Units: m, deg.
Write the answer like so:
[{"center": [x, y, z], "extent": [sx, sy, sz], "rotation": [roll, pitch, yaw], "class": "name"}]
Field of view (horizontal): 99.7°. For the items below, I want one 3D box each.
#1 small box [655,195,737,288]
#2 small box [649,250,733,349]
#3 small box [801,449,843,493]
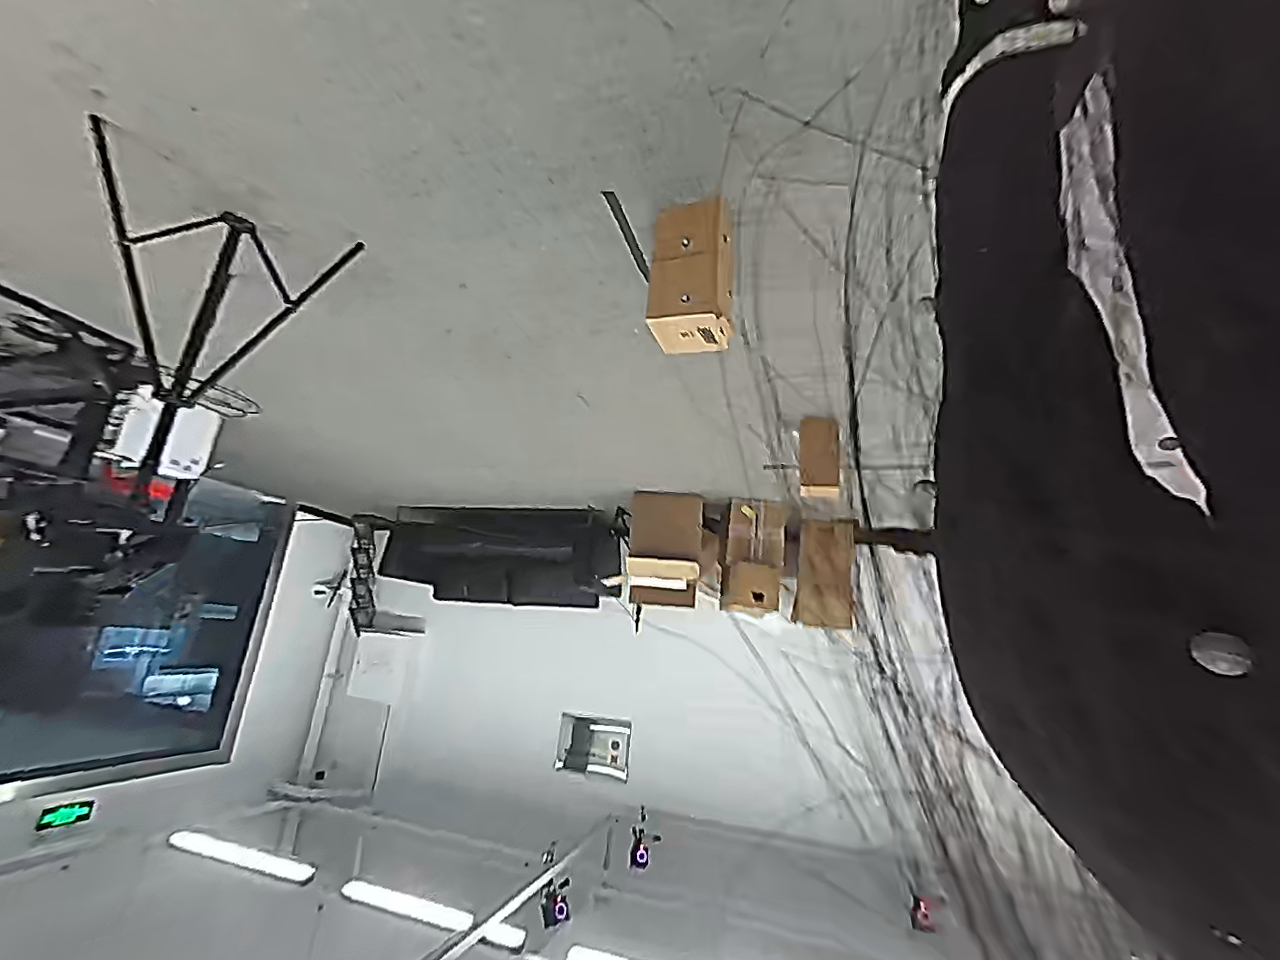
[{"center": [0.151, -0.606, 1.403], "extent": [0.179, 0.176, 0.168], "rotation": [0, 162, 23], "class": "small box"}, {"center": [0.134, -0.450, 1.353], "extent": [0.179, 0.176, 0.168], "rotation": [0, 163, 21], "class": "small box"}, {"center": [0.844, -0.043, 2.514], "extent": [0.179, 0.176, 0.168], "rotation": [1, 164, 14], "class": "small box"}]
